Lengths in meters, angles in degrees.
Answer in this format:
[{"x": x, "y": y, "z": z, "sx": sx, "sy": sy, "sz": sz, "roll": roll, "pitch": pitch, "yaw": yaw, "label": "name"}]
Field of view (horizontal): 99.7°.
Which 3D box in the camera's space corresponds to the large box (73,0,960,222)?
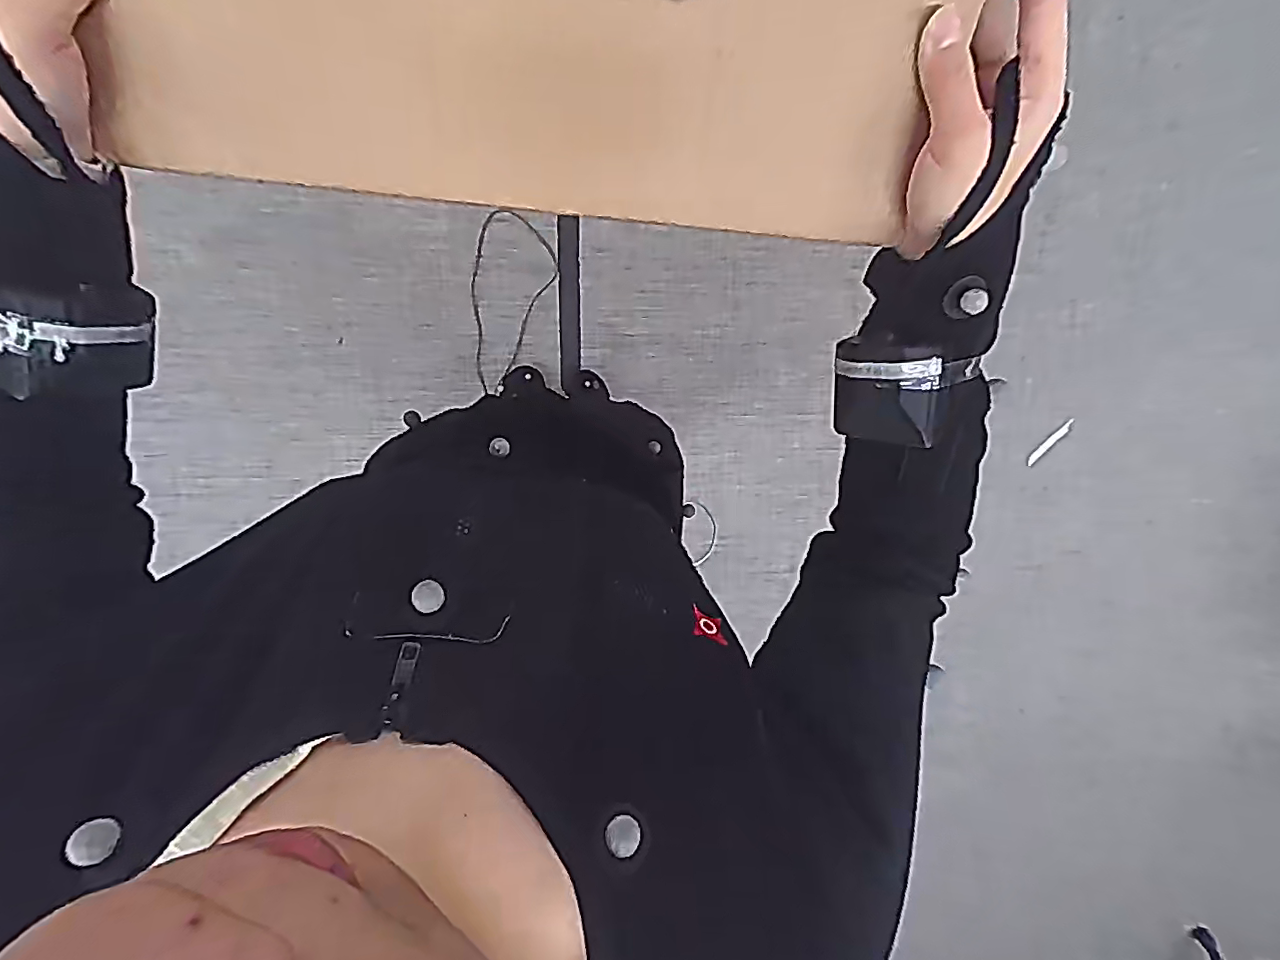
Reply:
[{"x": -0.050, "y": -0.360, "z": 0.331, "sx": 0.408, "sy": 0.320, "sz": 0.320, "roll": 4, "pitch": 122, "yaw": -5, "label": "large box"}]
